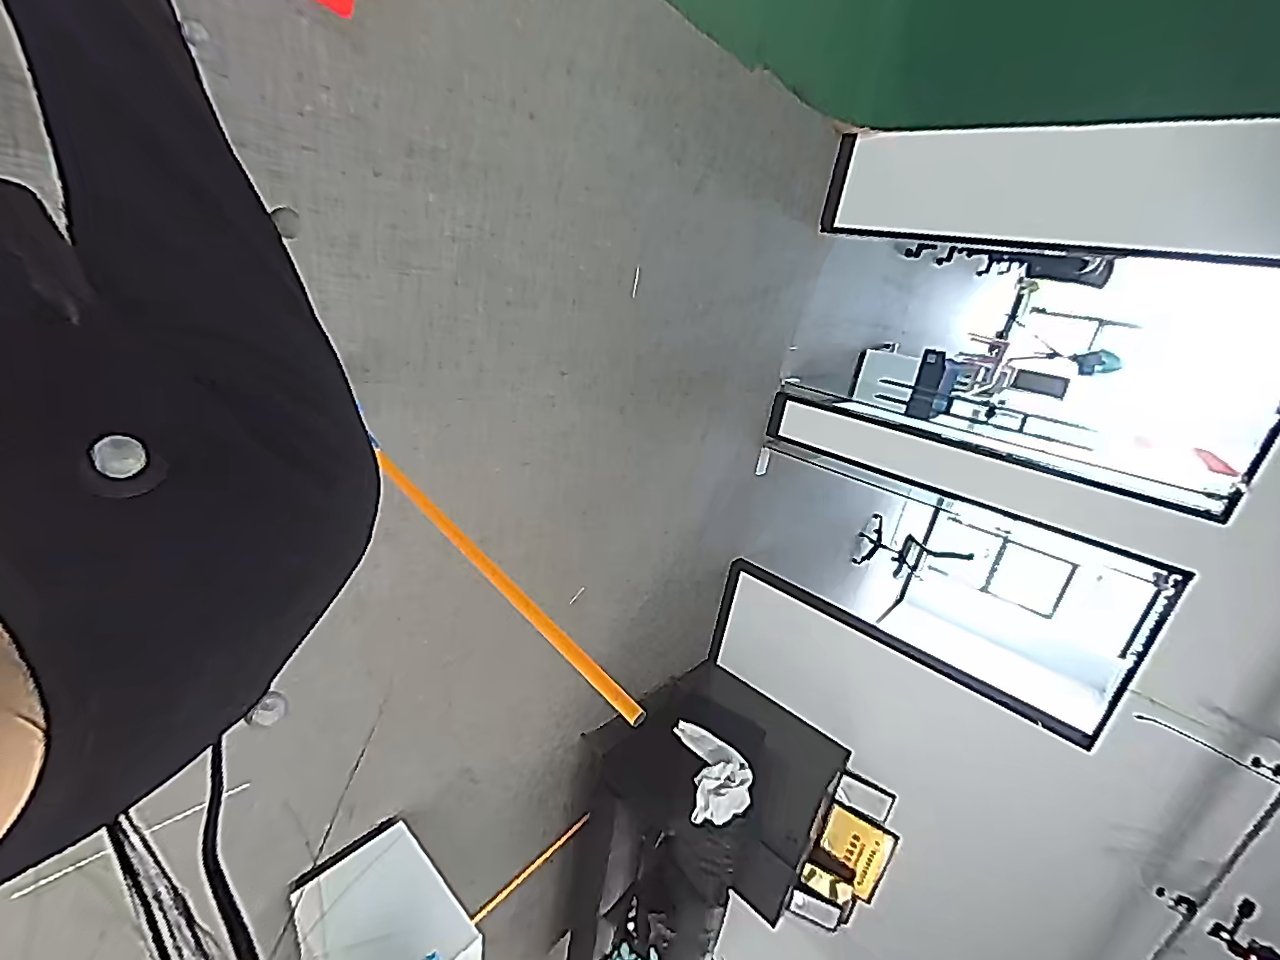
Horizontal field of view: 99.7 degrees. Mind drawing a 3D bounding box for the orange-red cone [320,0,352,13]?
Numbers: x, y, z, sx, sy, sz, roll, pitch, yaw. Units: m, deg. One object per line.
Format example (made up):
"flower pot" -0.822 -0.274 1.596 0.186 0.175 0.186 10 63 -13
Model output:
"orange-red cone" -0.545 -1.043 0.990 0.198 0.360 0.199 5 107 -52
